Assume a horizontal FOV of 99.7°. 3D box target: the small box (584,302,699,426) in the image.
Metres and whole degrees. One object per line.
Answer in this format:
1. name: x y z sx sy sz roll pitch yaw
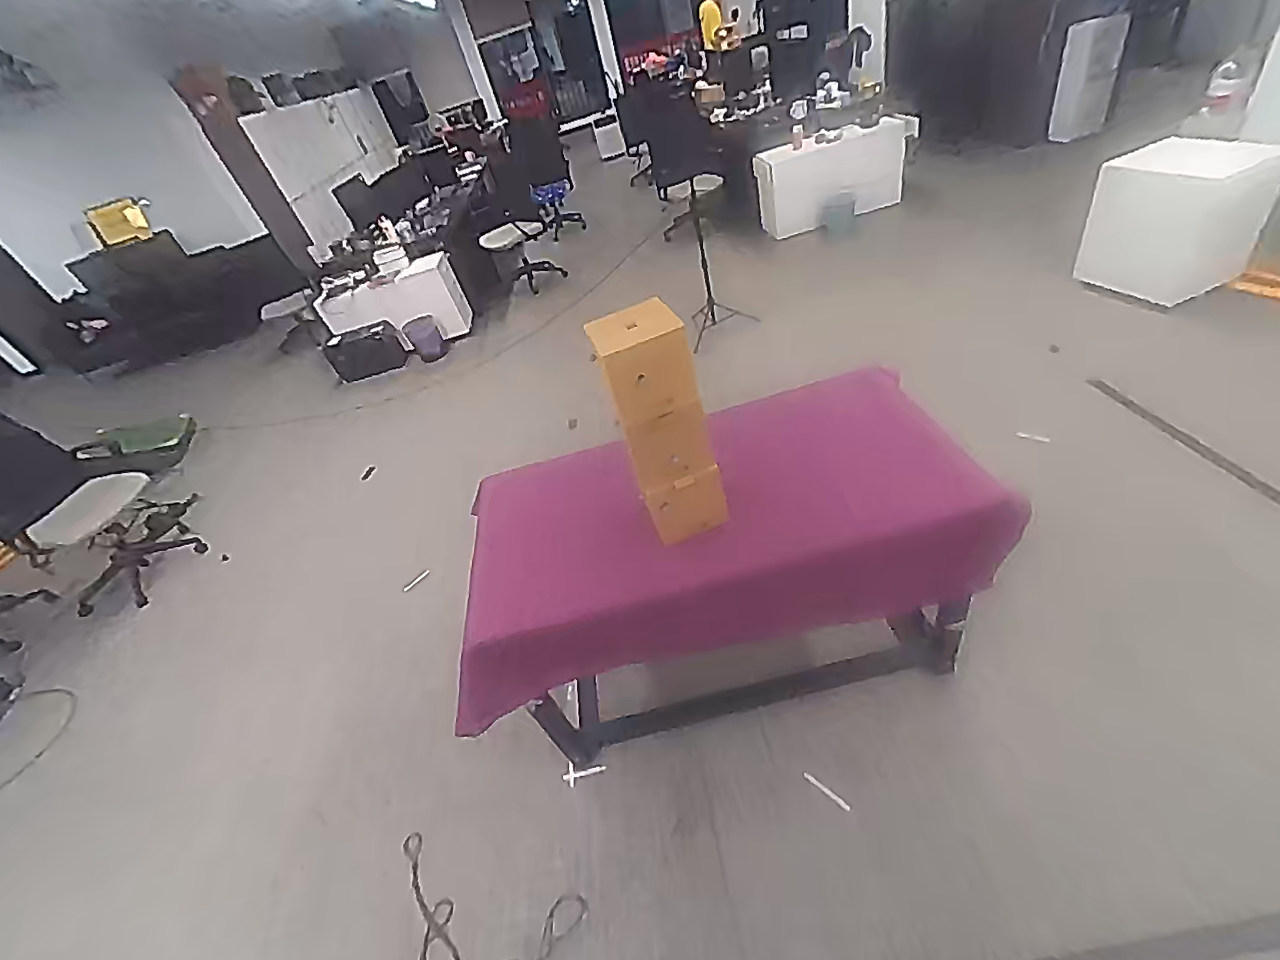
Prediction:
1. small box: 0.004 -0.228 1.088 0.168 0.176 0.179 -22 37 -4

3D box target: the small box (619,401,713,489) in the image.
1. small box: 0.048 -0.110 1.191 0.168 0.176 0.179 -20 38 -1
